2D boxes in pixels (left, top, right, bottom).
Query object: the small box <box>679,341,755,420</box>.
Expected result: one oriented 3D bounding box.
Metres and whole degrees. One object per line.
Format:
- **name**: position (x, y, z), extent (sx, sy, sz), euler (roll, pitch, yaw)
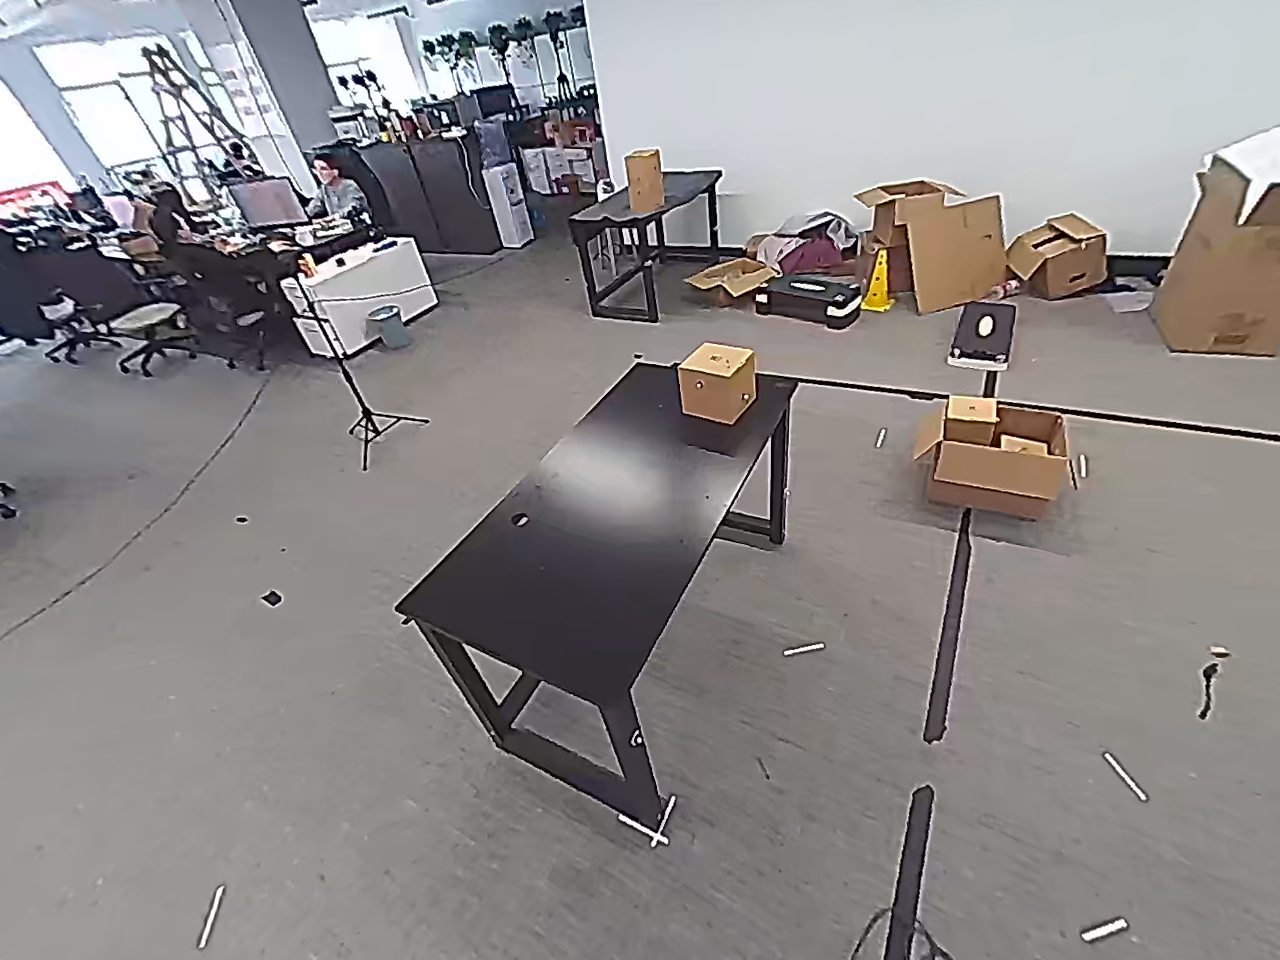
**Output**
- **small box**: position (0.240, -0.304, 1.659), extent (0.179, 0.176, 0.168), euler (19, 49, 31)
